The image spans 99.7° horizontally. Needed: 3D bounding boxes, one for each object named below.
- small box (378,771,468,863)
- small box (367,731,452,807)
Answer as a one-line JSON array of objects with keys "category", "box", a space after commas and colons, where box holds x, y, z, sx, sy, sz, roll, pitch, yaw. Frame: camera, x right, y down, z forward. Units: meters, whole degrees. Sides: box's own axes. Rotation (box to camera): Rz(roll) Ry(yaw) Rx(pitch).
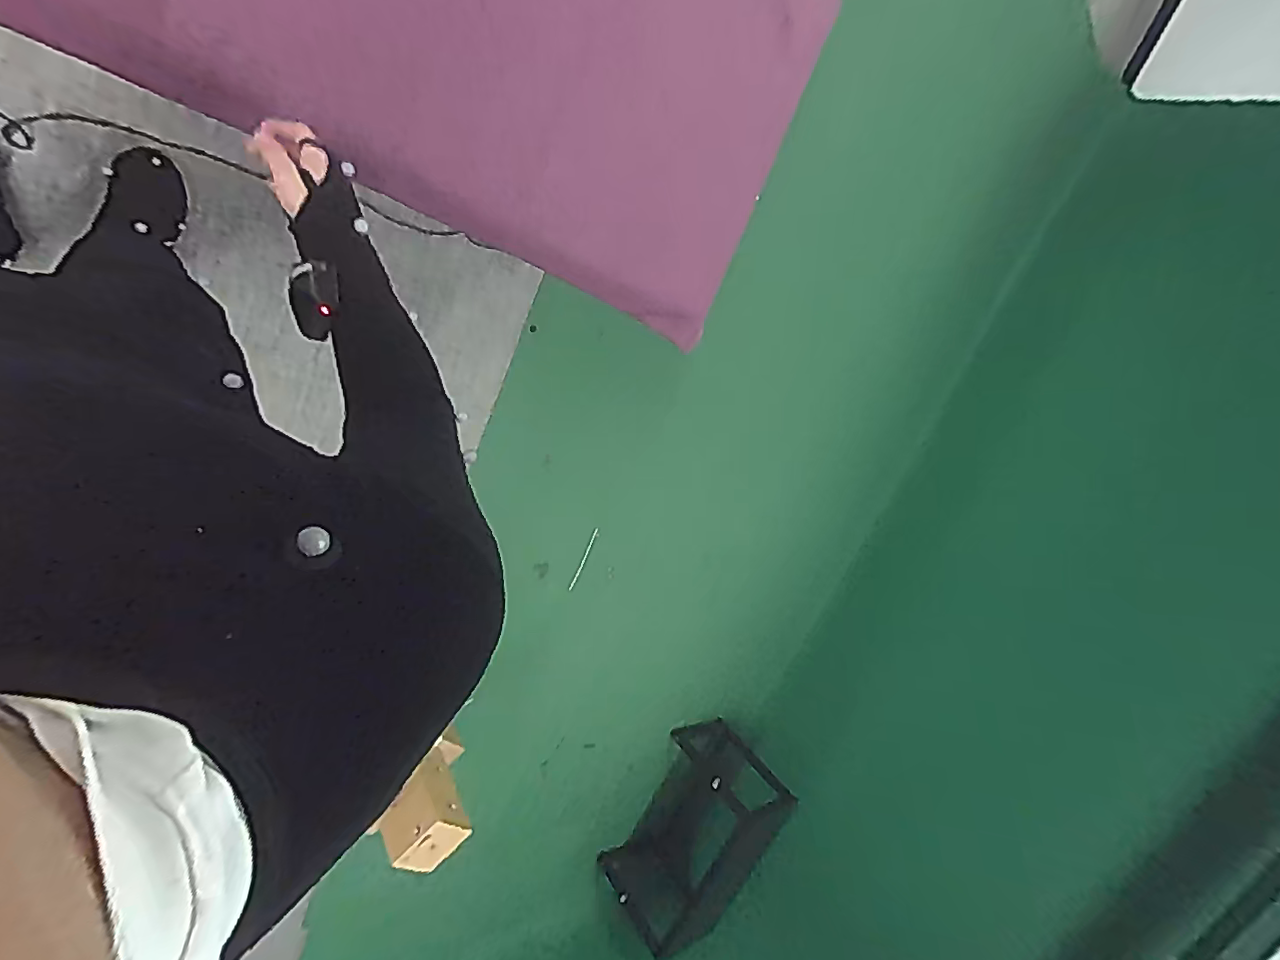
[{"category": "small box", "box": [-0.666, 1.031, 1.659, 0.168, 0.176, 0.179, -42, 137, -11]}, {"category": "small box", "box": [-0.758, 0.963, 1.777, 0.168, 0.176, 0.179, -42, 136, -12]}]
